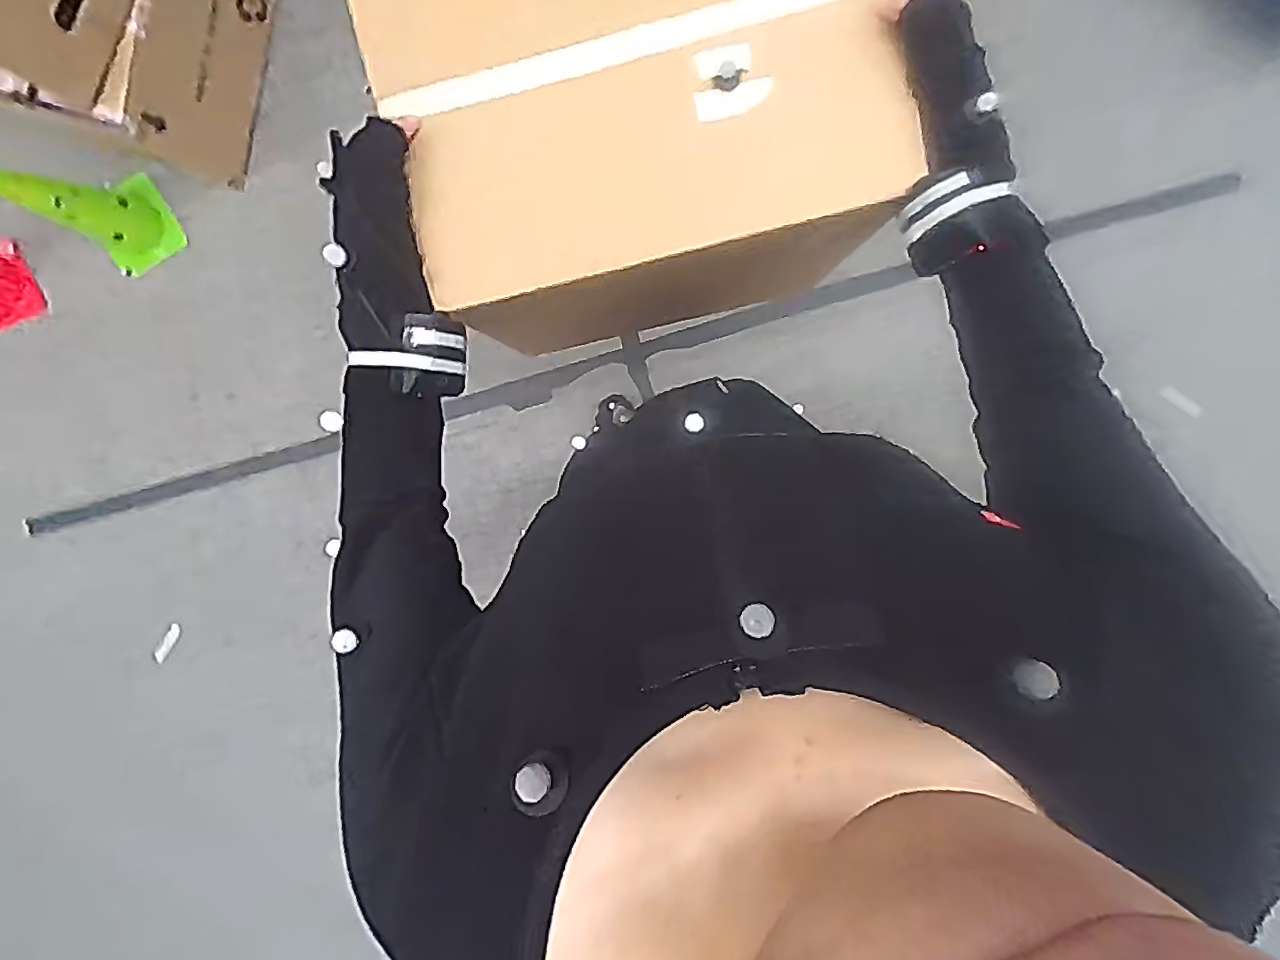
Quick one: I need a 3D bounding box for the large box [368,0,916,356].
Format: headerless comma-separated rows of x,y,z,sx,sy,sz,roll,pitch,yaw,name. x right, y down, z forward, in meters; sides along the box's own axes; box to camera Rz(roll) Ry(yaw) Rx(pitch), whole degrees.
-0.001,-0.352,0.581,0.408,0.320,0.320,-13,95,3,large box
